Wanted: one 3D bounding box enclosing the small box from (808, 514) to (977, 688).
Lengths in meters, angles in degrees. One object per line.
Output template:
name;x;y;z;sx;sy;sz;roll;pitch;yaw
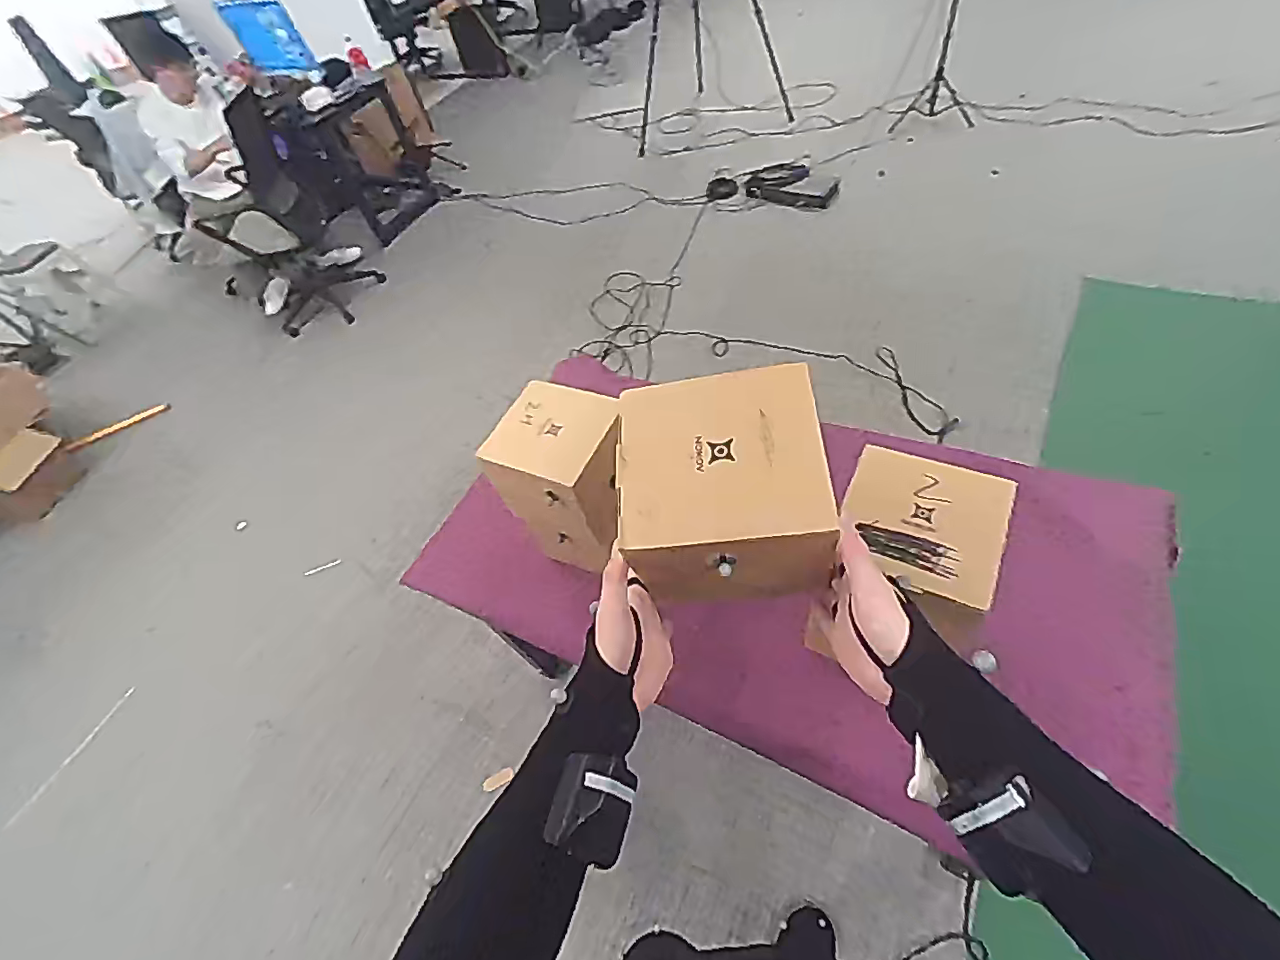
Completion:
small box;0.361;0.182;0.799;0.179;0.176;0.168;20;61;24

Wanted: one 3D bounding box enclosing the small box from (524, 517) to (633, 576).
small box;-0.082;0.056;0.992;0.179;0.176;0.168;15;59;23

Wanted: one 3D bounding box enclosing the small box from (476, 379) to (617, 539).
small box;-0.115;-0.028;0.853;0.179;0.176;0.168;17;59;23

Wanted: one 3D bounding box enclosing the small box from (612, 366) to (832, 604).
small box;0.081;0.017;0.528;0.179;0.176;0.168;-7;61;11
